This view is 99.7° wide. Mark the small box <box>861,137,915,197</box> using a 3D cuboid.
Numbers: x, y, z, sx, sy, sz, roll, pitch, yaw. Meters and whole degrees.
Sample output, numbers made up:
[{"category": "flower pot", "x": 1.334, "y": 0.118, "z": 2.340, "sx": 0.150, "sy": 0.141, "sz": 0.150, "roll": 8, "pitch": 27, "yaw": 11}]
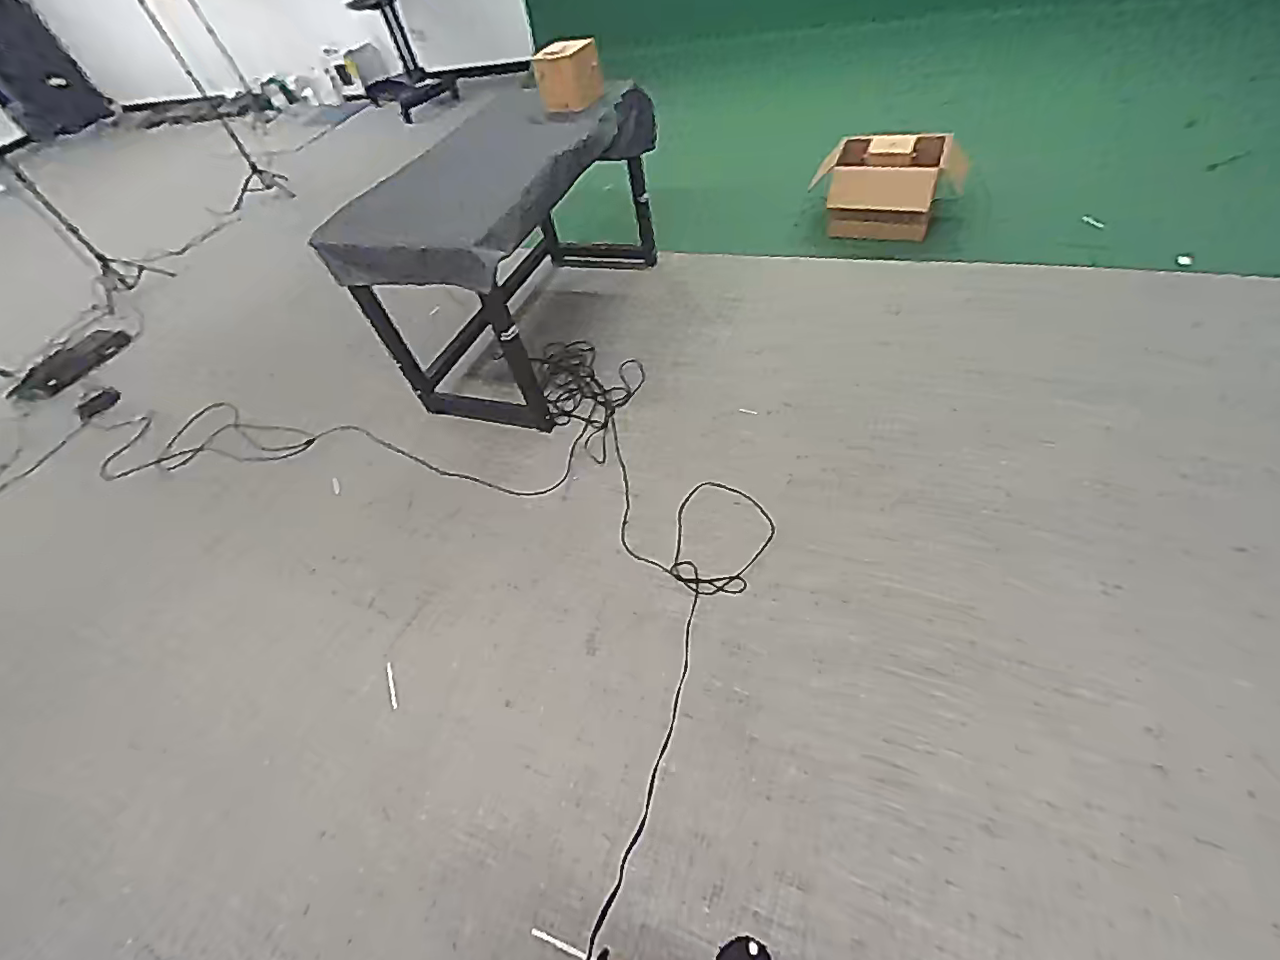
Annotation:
[{"category": "small box", "x": 1.041, "y": -1.322, "z": 2.279, "sx": 0.168, "sy": 0.176, "sz": 0.179, "roll": 15, "pitch": 55, "yaw": 22}]
